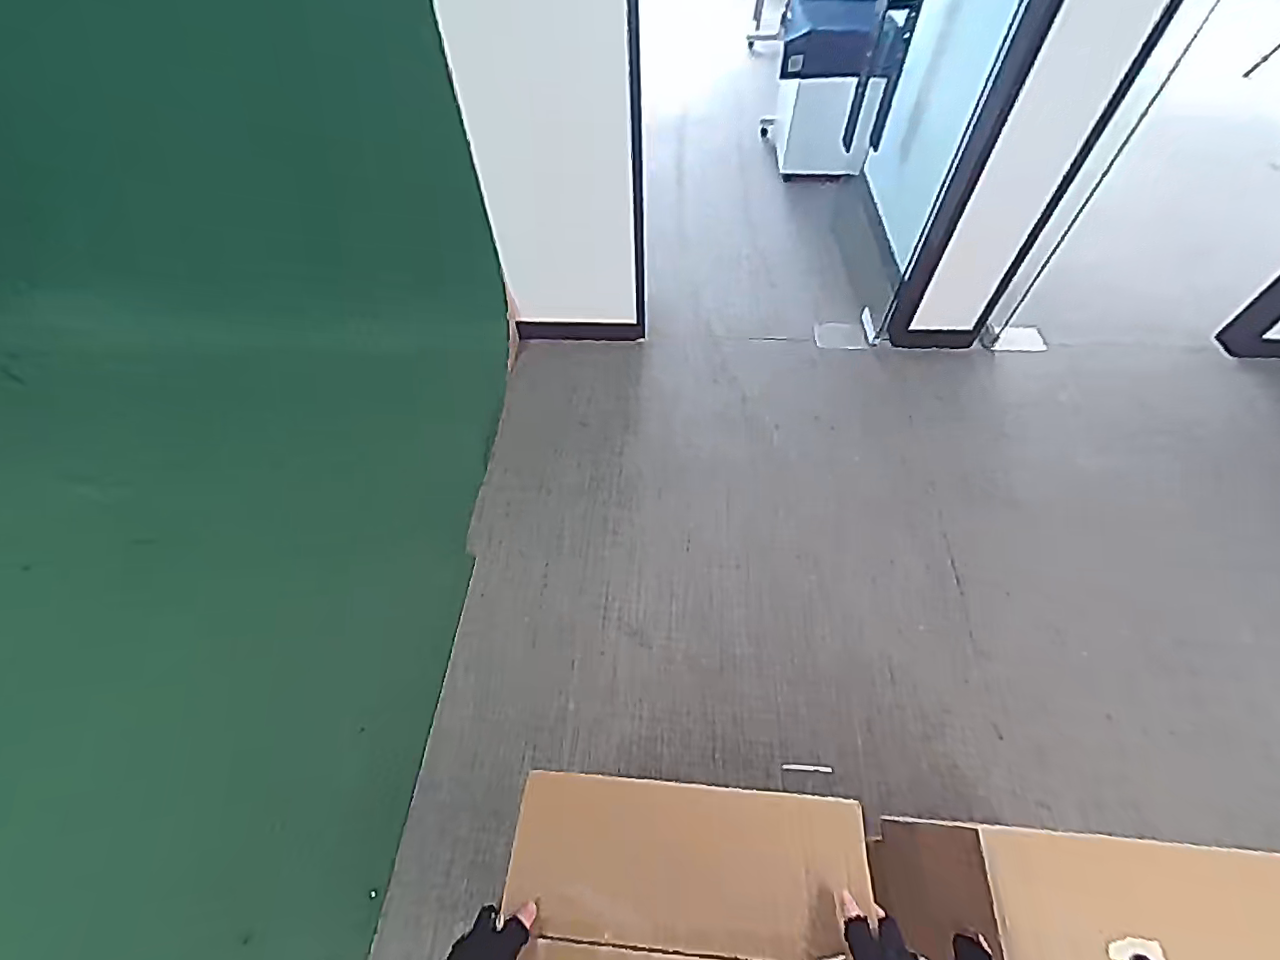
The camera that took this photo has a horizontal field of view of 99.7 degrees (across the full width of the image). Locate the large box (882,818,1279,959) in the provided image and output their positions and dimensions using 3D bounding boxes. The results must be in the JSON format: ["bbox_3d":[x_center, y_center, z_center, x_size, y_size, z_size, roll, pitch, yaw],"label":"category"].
[{"bbox_3d":[0.566,0.611,0.656,0.408,0.320,0.320,3,59,5],"label":"large box"}]
